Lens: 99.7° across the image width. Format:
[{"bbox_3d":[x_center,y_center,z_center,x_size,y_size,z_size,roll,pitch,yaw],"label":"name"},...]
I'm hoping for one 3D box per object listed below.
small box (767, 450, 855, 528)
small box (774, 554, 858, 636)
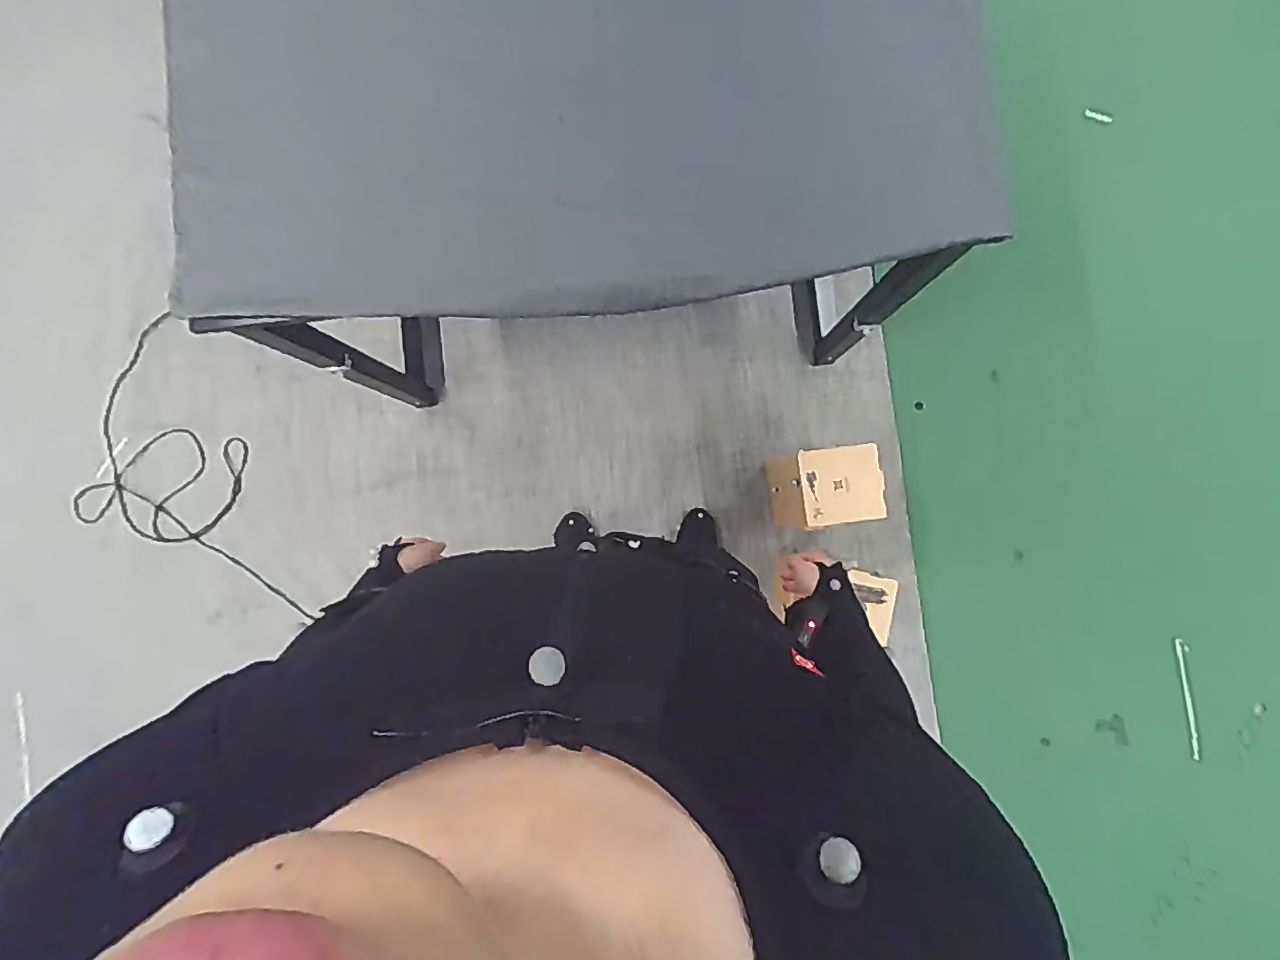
[{"bbox_3d":[0.437,0.026,1.401,0.168,0.176,0.179,-8,86,1],"label":"small box"},{"bbox_3d":[0.446,0.290,1.388,0.168,0.176,0.179,2,87,2],"label":"small box"}]
